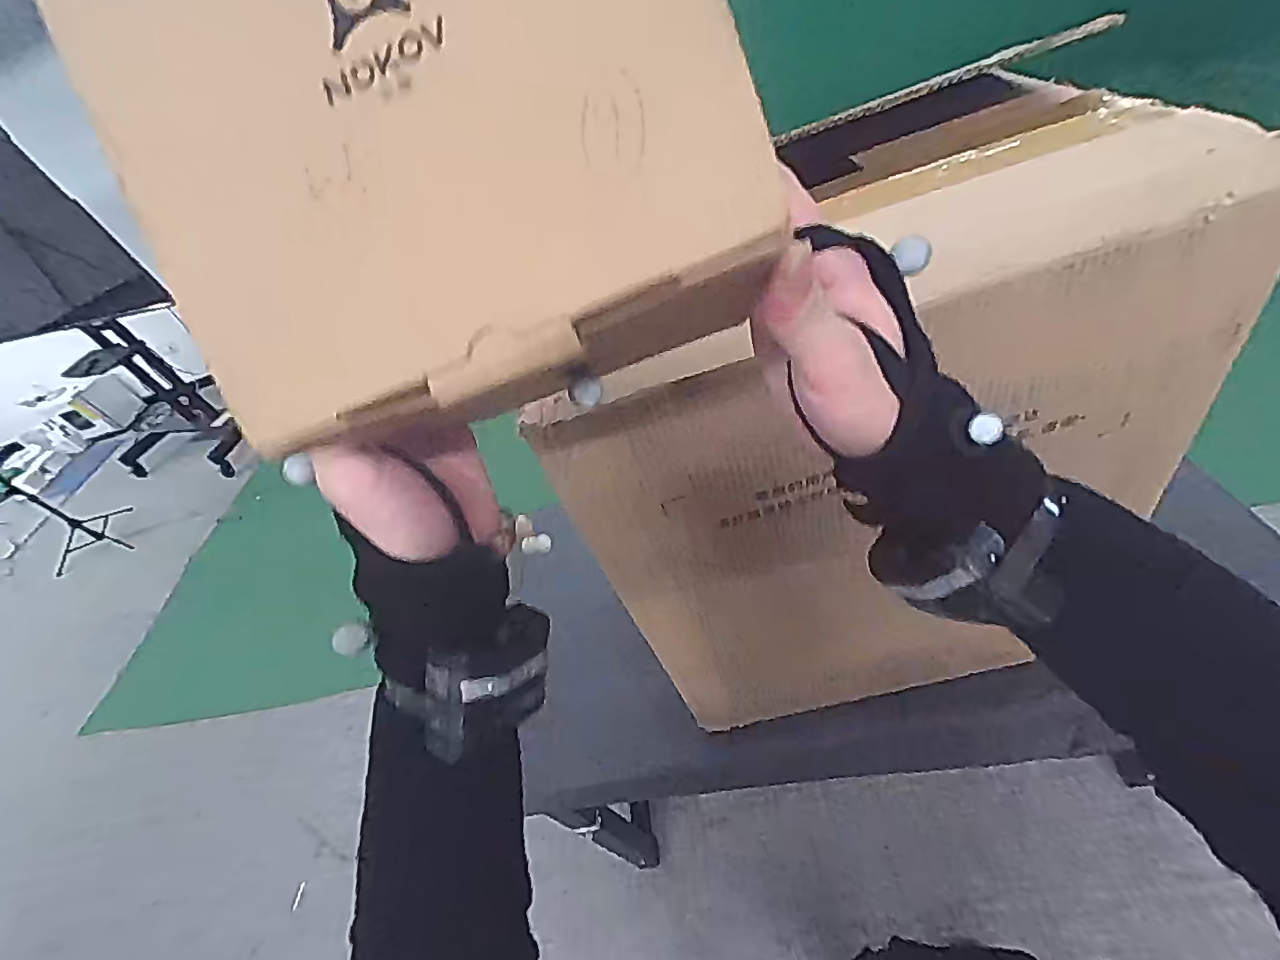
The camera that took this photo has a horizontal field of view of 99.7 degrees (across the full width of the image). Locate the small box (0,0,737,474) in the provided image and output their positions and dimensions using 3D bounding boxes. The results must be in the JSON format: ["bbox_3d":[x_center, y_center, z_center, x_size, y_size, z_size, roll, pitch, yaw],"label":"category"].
[{"bbox_3d":[-0.069,-0.122,0.209,0.168,0.179,0.176,-19,8,10],"label":"small box"}]
